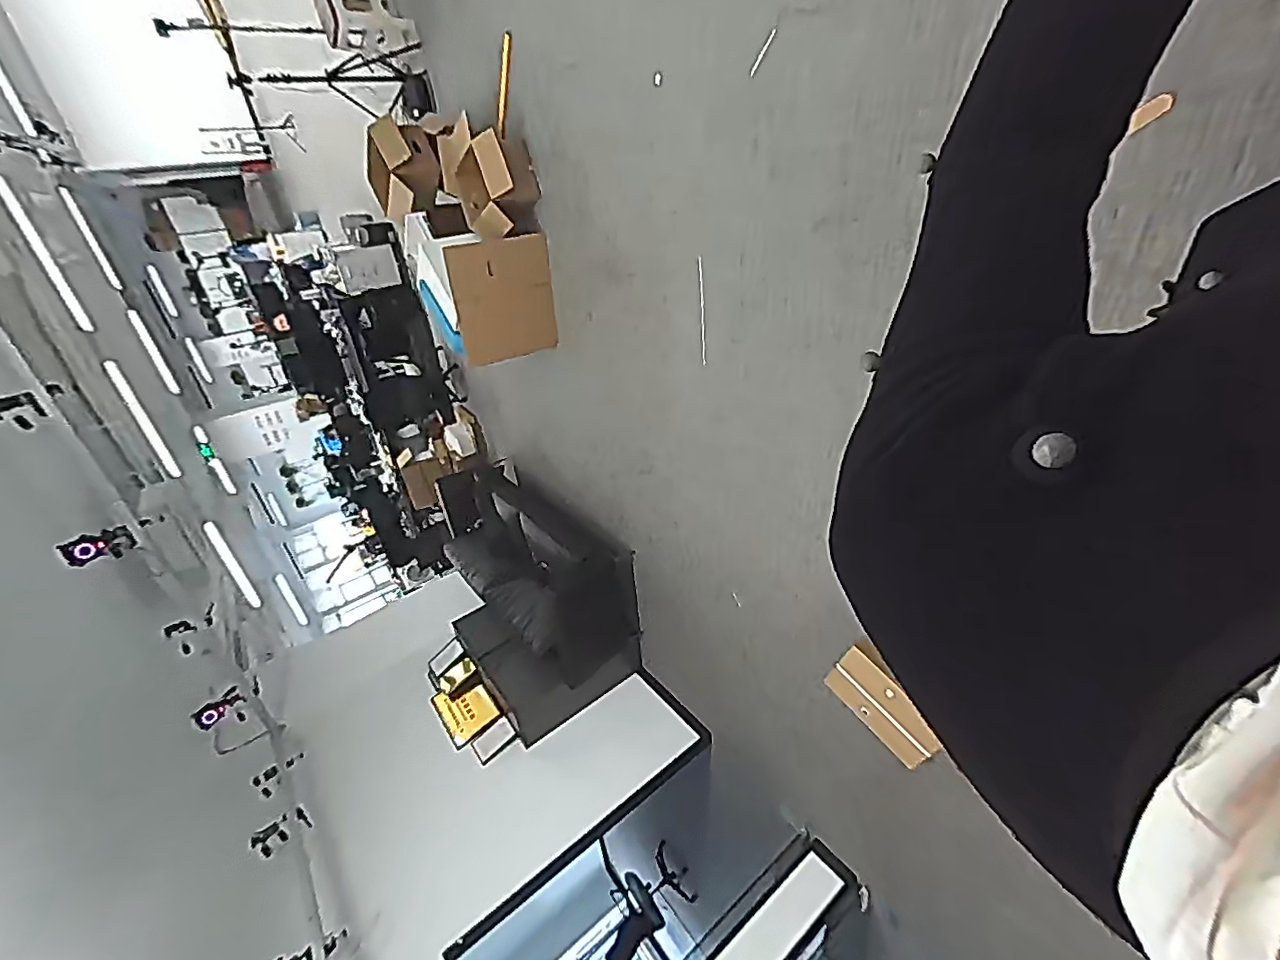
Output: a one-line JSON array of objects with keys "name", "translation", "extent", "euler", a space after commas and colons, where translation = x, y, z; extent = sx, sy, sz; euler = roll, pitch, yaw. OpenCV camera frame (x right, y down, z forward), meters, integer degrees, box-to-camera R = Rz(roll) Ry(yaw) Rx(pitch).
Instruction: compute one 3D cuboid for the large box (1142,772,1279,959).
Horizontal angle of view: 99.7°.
[{"name": "large box", "translation": [1.547, 0.973, 1.290], "extent": [0.408, 0.320, 0.320], "euler": [-20, 95, 59]}]
